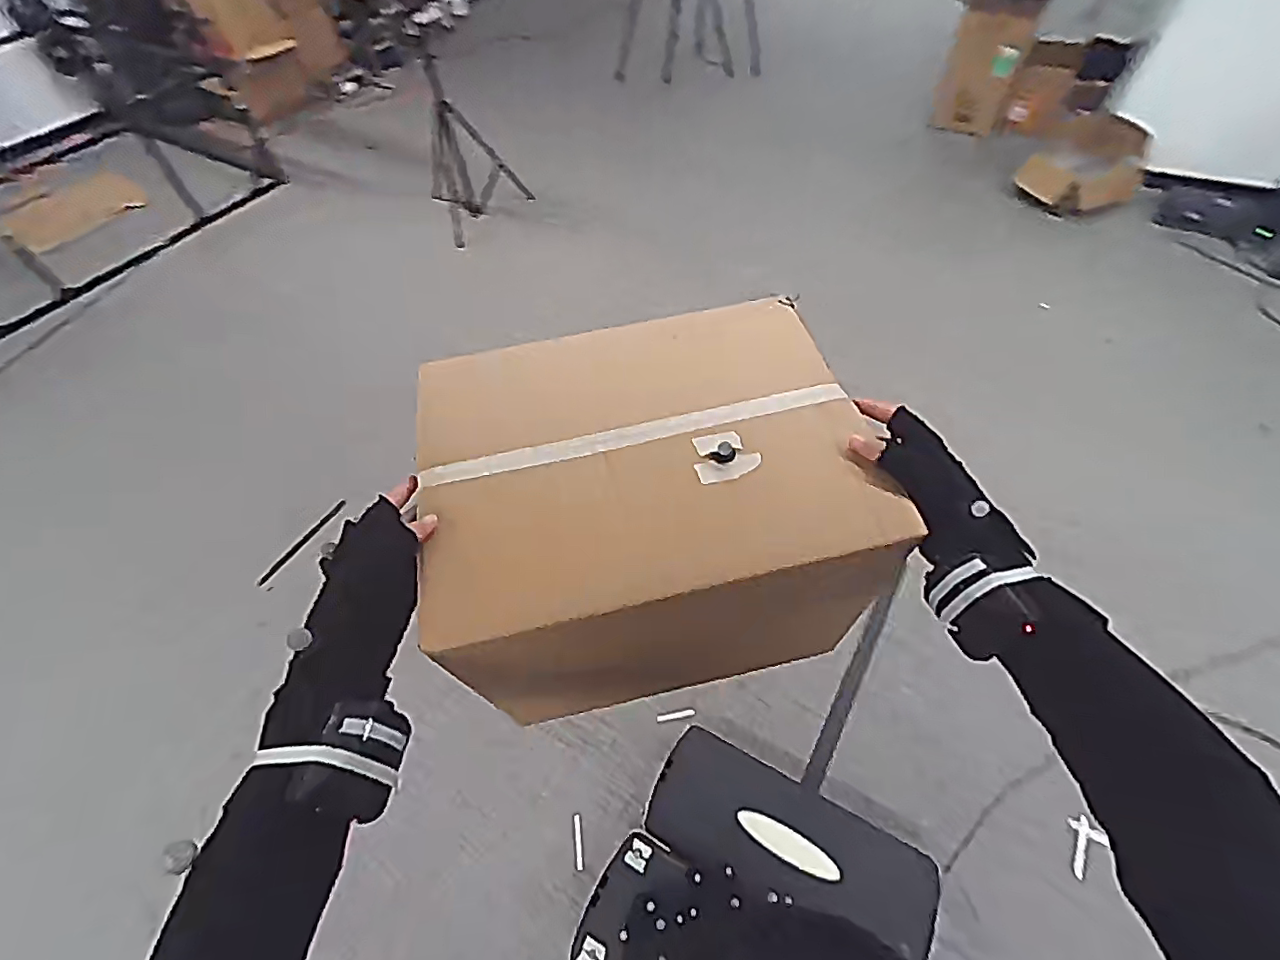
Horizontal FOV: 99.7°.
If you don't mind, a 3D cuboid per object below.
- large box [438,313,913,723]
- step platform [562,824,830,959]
[{"bbox_3d":[0.012,0.053,0.640,0.408,0.320,0.320,-11,56,-5],"label":"large box"},{"bbox_3d":[0.173,1.058,1.152,0.684,0.204,0.286,22,59,21],"label":"step platform"}]
